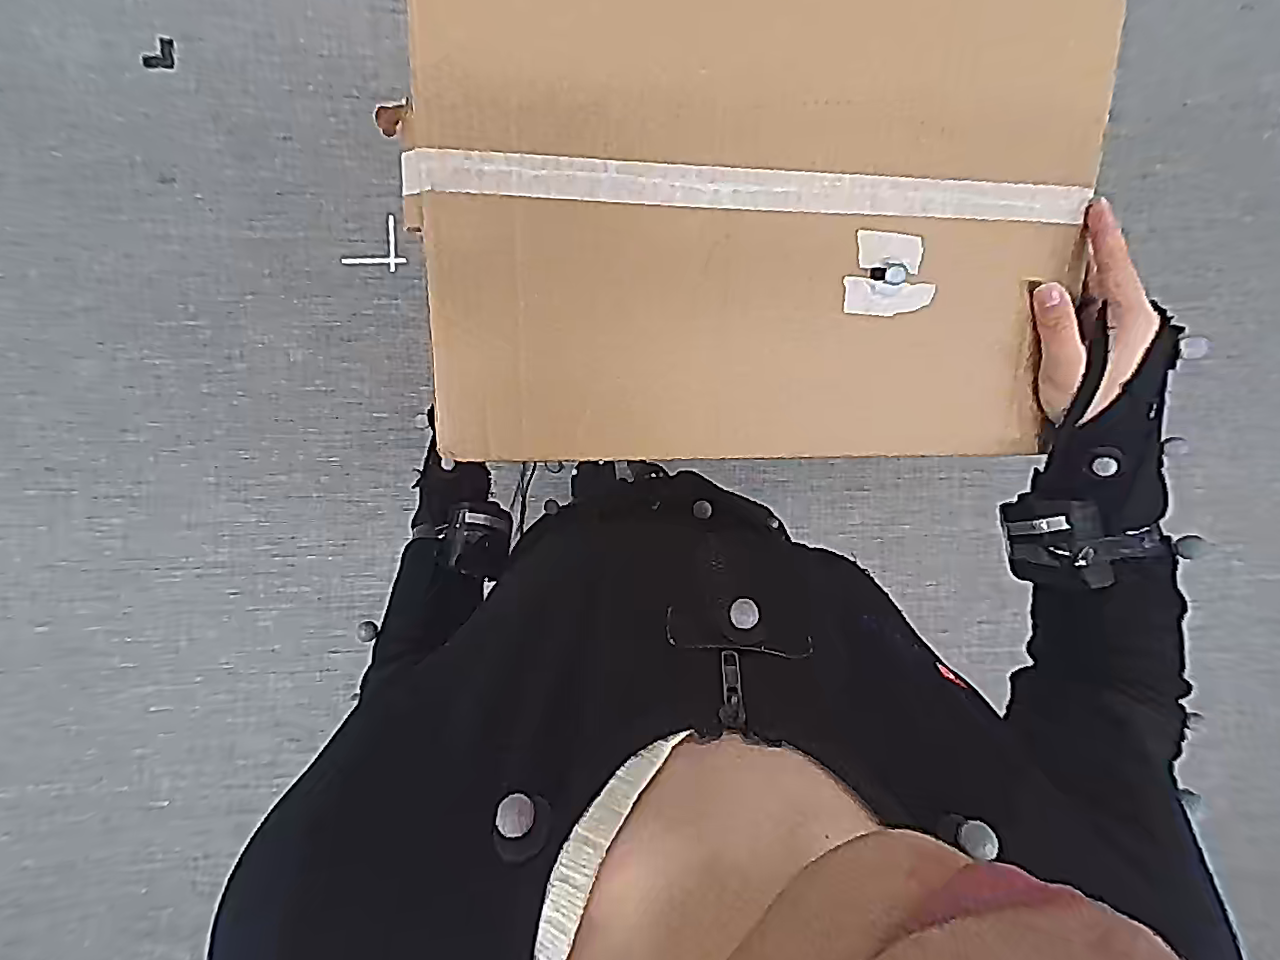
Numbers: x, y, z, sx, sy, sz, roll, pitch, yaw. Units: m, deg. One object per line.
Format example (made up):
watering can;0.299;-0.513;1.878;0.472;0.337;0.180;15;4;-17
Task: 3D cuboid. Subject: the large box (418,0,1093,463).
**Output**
large box;0.057;-0.198;0.469;0.408;0.320;0.320;-2;103;-9
